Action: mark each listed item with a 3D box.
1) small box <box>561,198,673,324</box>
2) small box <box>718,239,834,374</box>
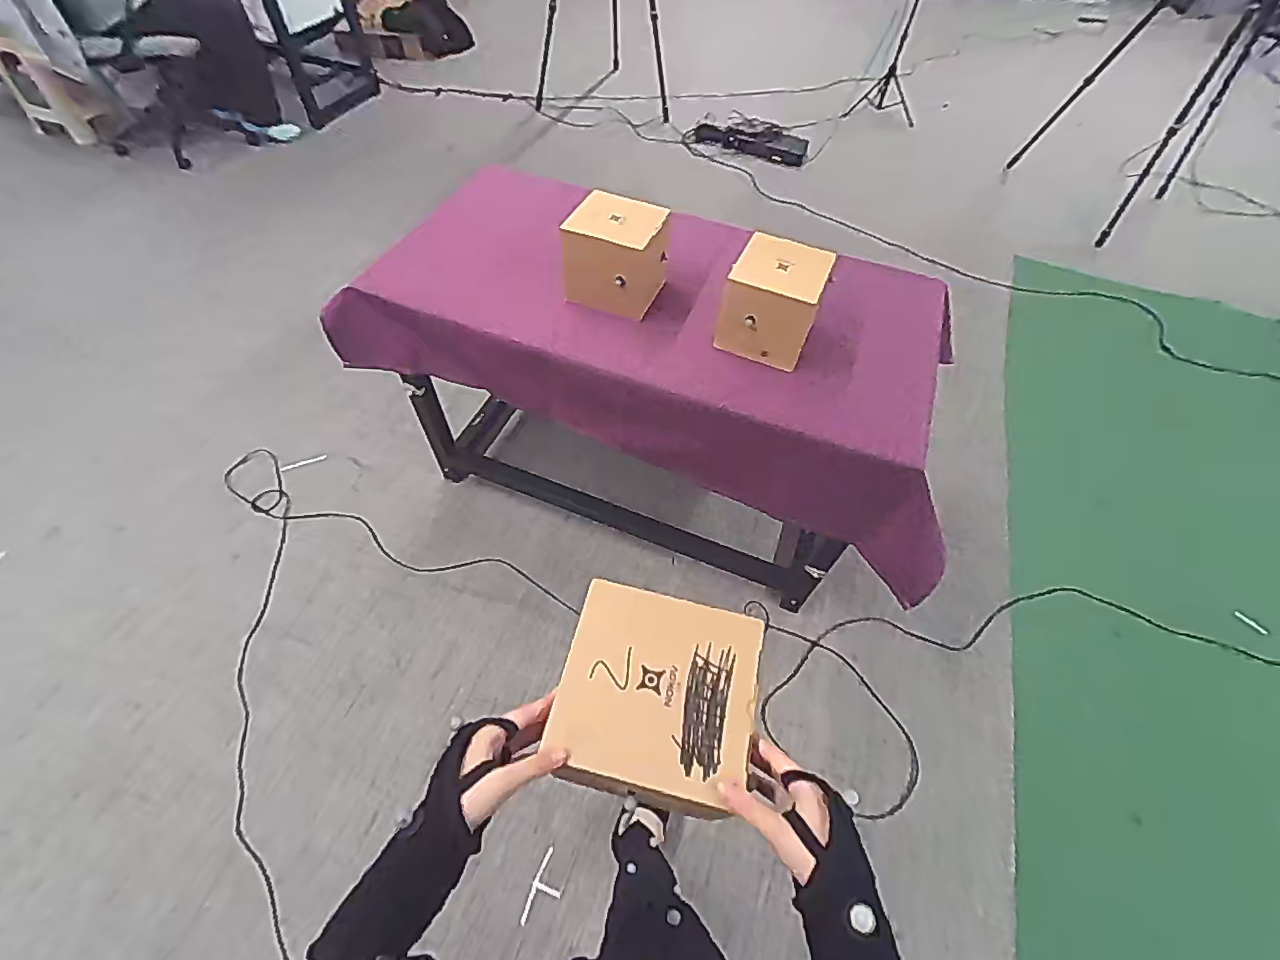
[{"bbox_3d":[-0.046,-0.455,1.136,0.179,0.176,0.168,20,55,11],"label":"small box"},{"bbox_3d":[0.261,-0.340,1.072,0.168,0.176,0.179,21,55,12],"label":"small box"}]
